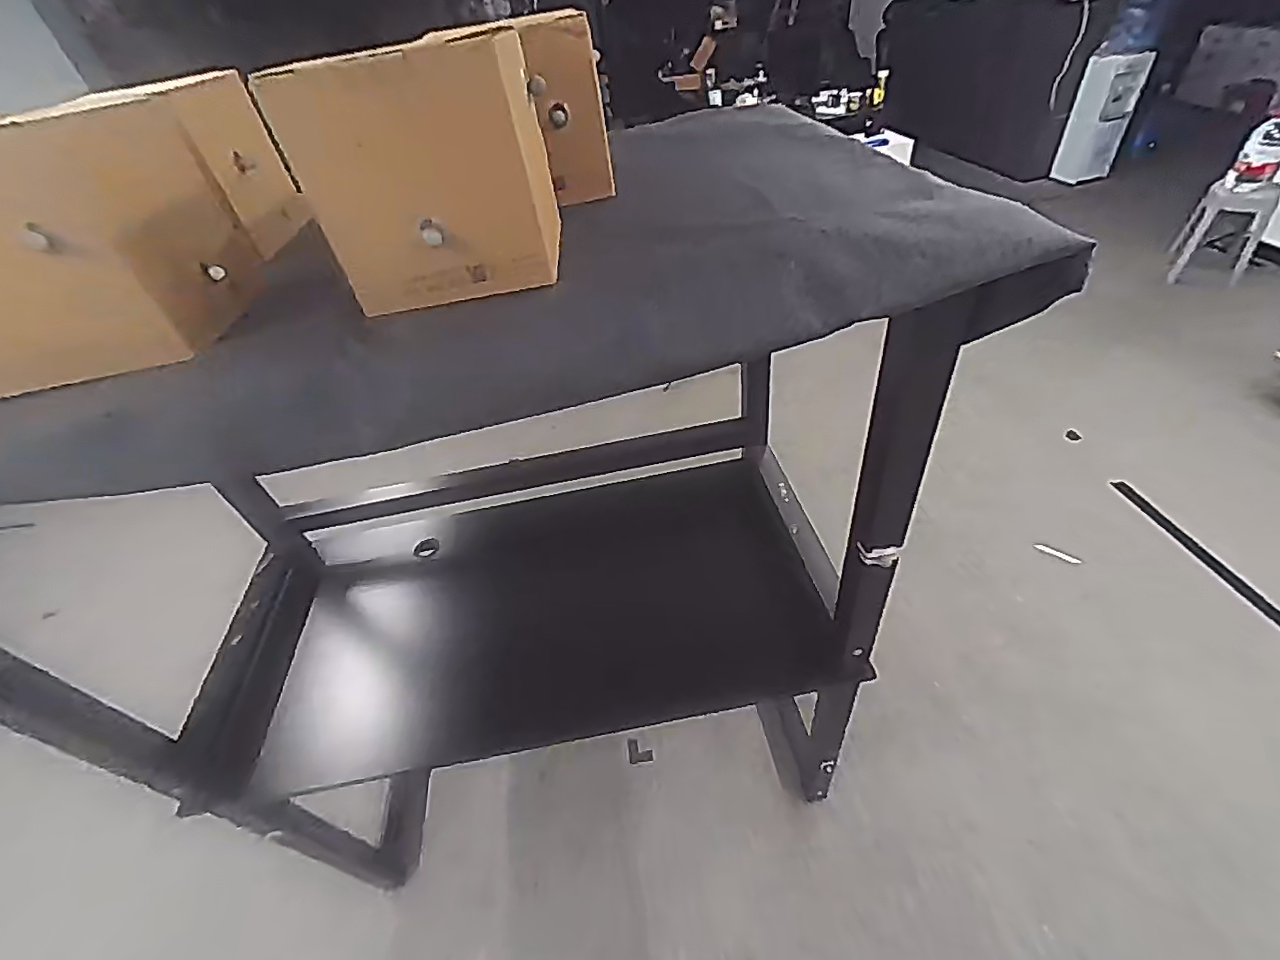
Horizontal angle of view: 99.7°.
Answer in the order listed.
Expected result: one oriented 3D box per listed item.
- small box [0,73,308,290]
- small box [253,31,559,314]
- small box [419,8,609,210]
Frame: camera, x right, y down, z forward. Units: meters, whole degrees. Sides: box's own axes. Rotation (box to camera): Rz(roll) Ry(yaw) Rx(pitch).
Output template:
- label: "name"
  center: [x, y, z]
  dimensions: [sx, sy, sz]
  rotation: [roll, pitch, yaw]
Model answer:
- label: "small box"
  center: [-0.529, -0.342, 0.624]
  dimensions: [0.179, 0.176, 0.168]
  rotation: [-11, 43, 0]
- label: "small box"
  center: [-0.171, -0.264, 0.466]
  dimensions: [0.168, 0.176, 0.179]
  rotation: [-9, 42, 2]
- label: "small box"
  center: [-0.135, -0.420, 0.627]
  dimensions: [0.168, 0.176, 0.179]
  rotation: [-12, 43, -3]
